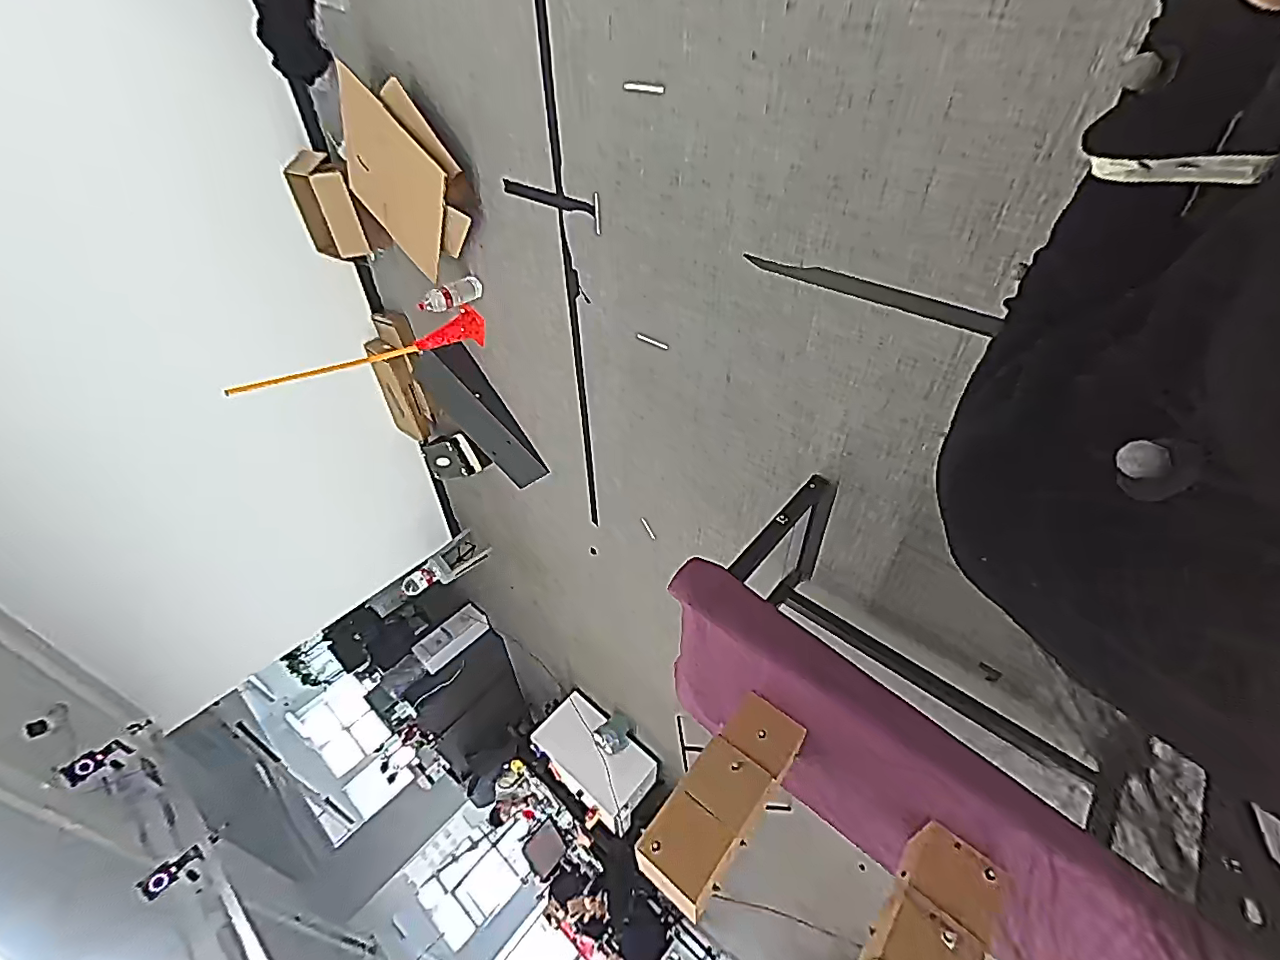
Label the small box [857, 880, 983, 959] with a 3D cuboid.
[{"bbox_3d":[0.583,0.992,1.130,0.168,0.176,0.179,29,139,29],"label":"small box"}]

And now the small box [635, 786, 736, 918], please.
[{"bbox_3d":[0.112,0.878,1.286,0.179,0.176,0.168,26,139,32],"label":"small box"}]

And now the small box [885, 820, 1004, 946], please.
[{"bbox_3d":[0.692,0.918,1.227,0.168,0.176,0.179,30,142,30],"label":"small box"}]

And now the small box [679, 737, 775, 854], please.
[{"bbox_3d":[0.217,0.787,1.371,0.179,0.176,0.168,26,139,33],"label":"small box"}]
